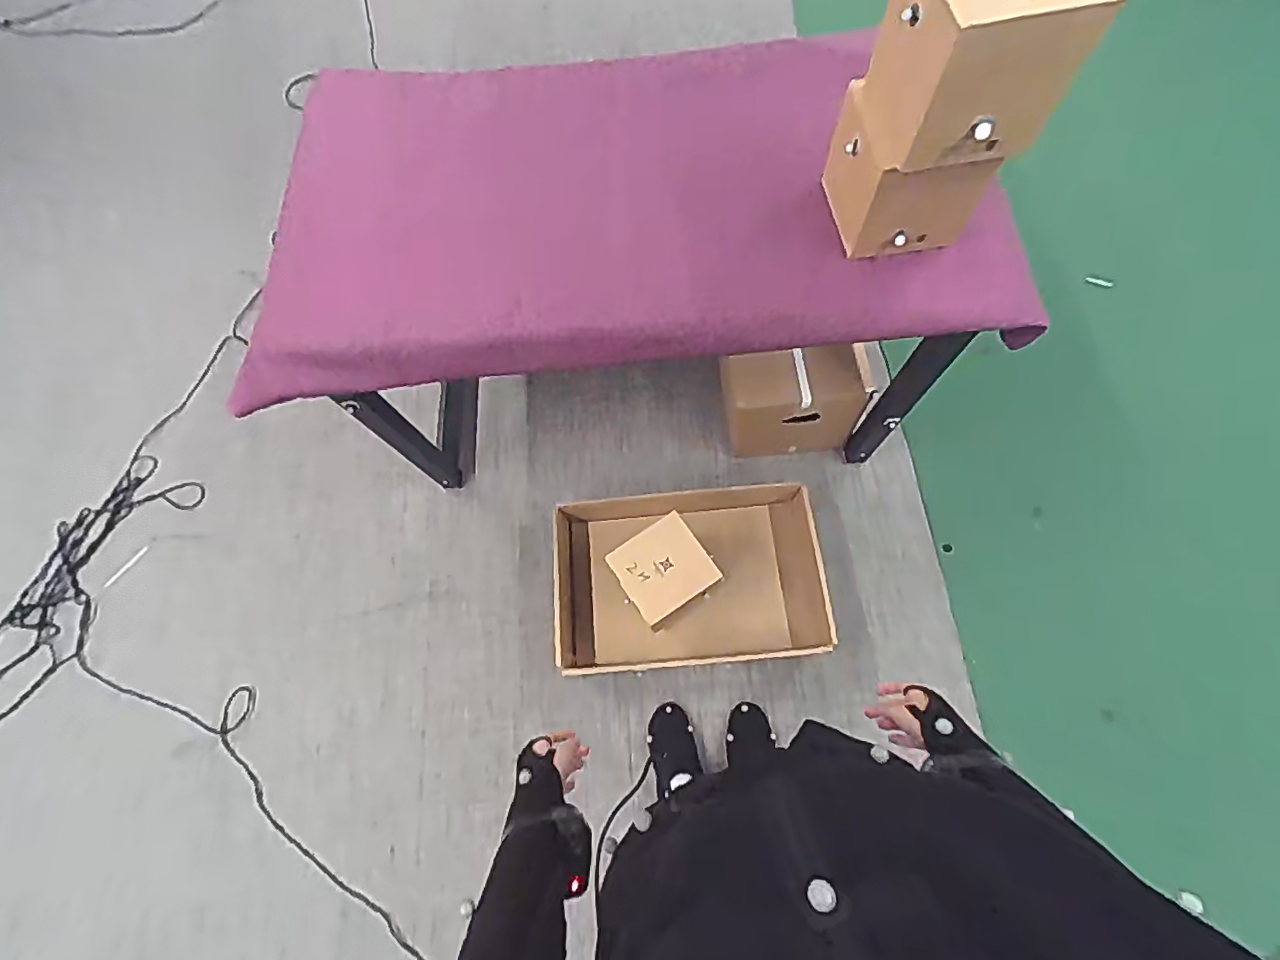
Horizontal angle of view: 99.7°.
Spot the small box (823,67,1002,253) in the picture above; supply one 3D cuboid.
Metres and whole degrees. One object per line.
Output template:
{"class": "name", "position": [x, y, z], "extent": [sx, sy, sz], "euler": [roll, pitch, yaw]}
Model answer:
{"class": "small box", "position": [0.380, -0.466, 0.787], "extent": [0.168, 0.176, 0.179], "euler": [-8, 69, 3]}

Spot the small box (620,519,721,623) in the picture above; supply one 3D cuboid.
{"class": "small box", "position": [0.075, 0.225, 1.287], "extent": [0.179, 0.176, 0.168], "euler": [-34, 72, -8]}

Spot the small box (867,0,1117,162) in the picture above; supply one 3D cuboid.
{"class": "small box", "position": [0.385, -0.513, 0.628], "extent": [0.168, 0.176, 0.179], "euler": [-8, 69, 3]}
